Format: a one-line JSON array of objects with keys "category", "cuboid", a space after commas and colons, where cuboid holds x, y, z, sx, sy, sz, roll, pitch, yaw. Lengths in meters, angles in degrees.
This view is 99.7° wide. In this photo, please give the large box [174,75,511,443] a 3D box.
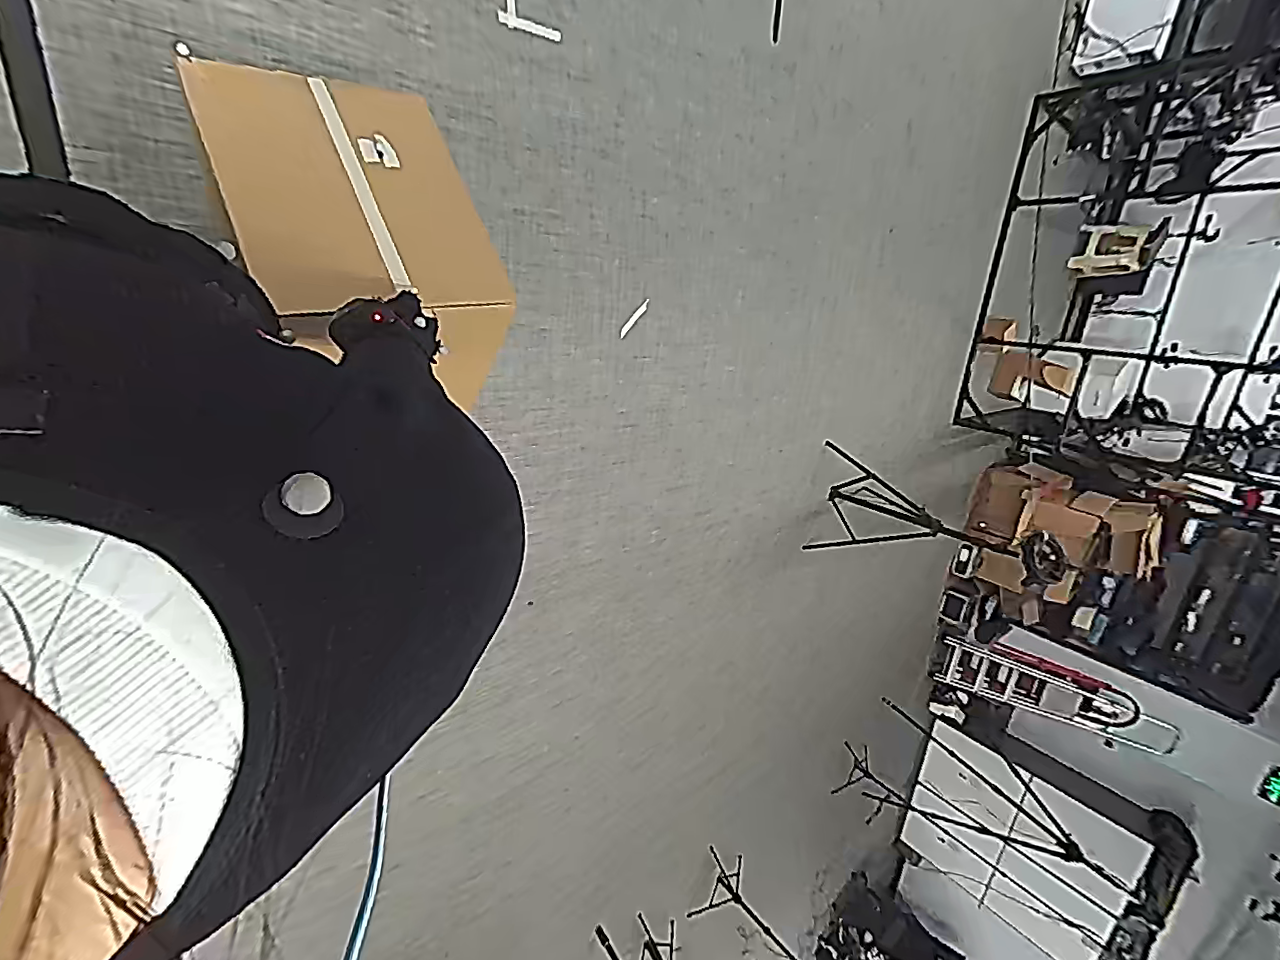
[{"category": "large box", "cuboid": [-0.462, -0.326, 0.860, 0.320, 0.320, 0.408, -18, 75, -38]}]
